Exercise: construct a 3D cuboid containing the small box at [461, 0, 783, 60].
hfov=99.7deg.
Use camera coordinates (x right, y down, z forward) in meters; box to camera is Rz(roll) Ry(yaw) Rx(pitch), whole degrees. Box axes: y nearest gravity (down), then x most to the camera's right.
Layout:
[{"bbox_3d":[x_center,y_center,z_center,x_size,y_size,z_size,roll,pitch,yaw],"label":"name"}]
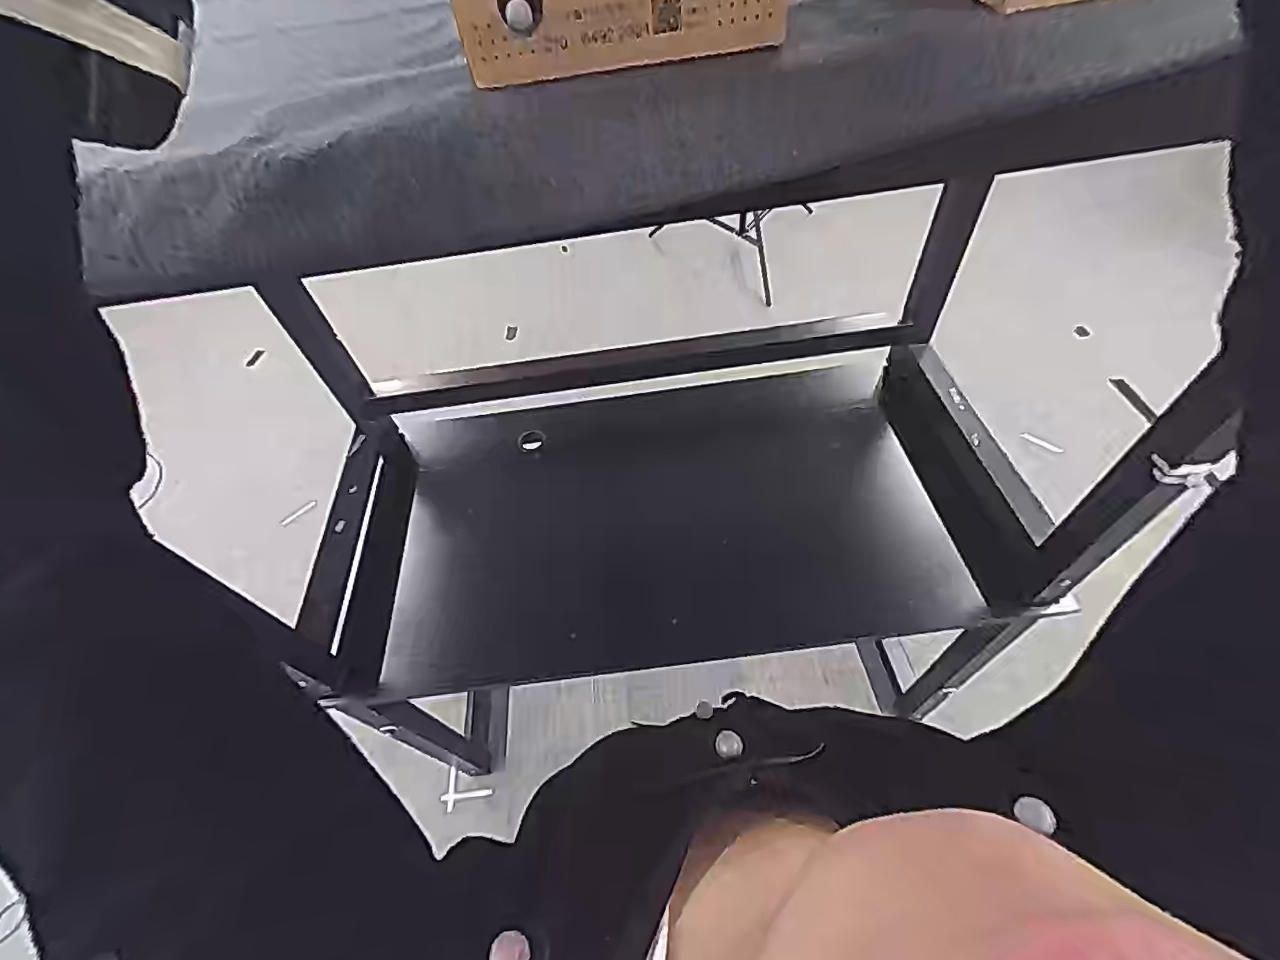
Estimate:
[{"bbox_3d":[-0.020,-0.334,0.268,0.168,0.176,0.179,-7,50,1],"label":"small box"}]
